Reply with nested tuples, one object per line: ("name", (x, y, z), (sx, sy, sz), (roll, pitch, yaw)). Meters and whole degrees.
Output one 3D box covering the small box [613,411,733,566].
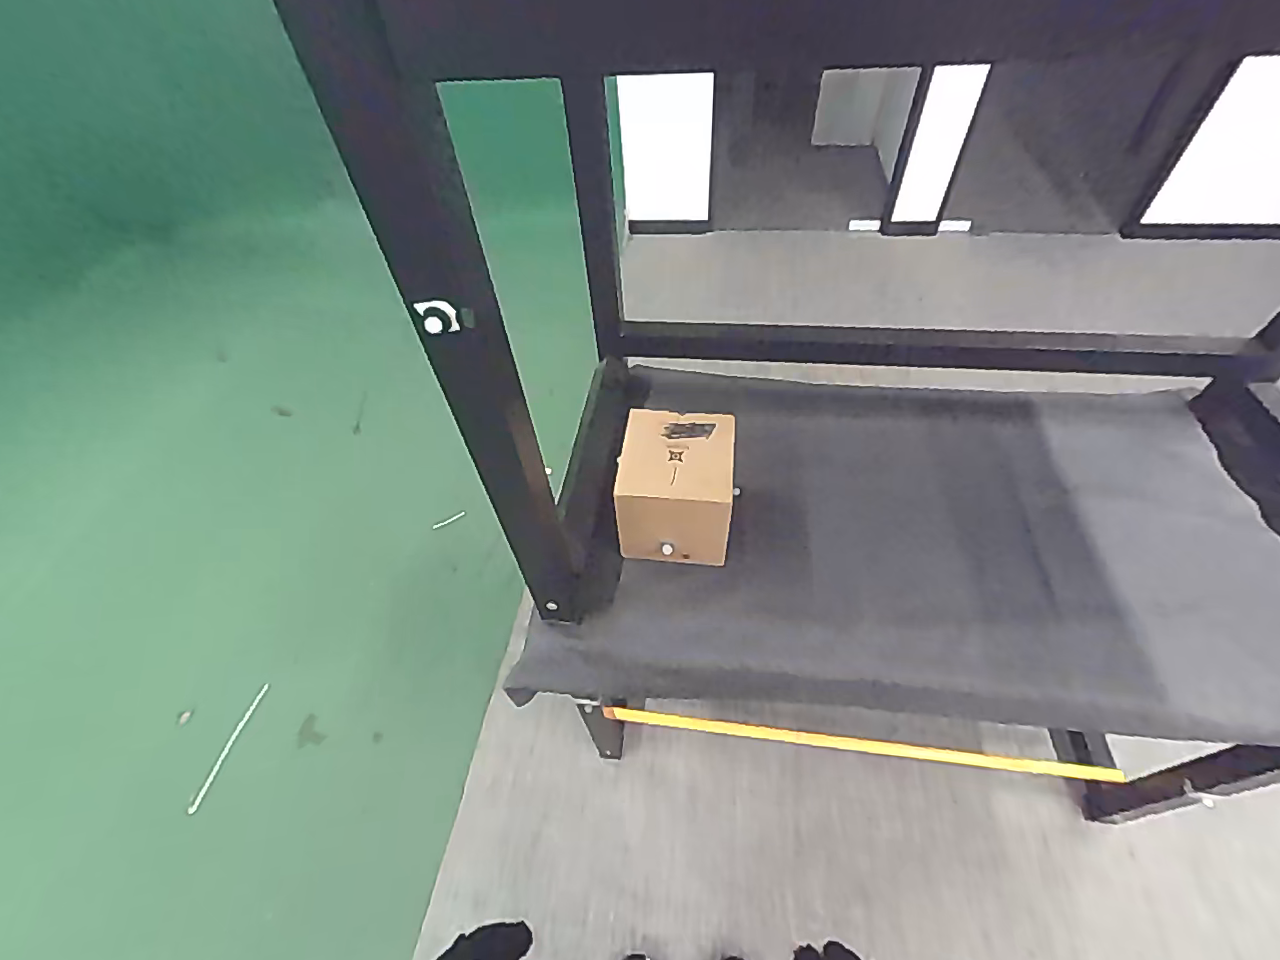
("small box", (0.056, 0.013, 0.862), (0.168, 0.176, 0.179), (4, 51, 7))
